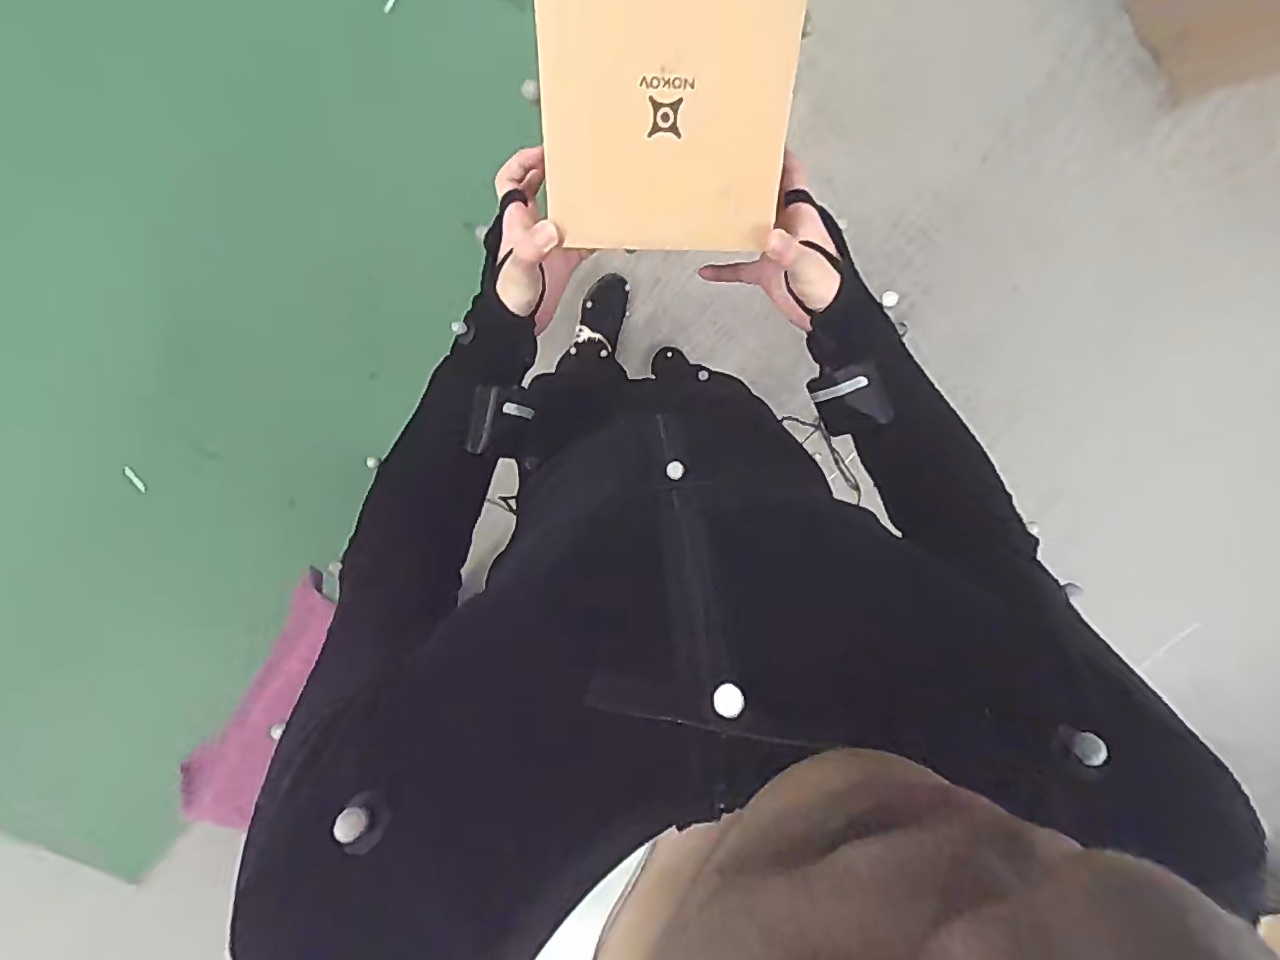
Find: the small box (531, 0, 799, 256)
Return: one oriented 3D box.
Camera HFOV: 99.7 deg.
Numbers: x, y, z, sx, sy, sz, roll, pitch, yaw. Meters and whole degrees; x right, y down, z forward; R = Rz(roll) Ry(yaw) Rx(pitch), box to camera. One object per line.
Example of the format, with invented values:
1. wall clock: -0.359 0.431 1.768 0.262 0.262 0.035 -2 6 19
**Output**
1. small box: 0.013 -0.288 0.425 0.168 0.176 0.179 2 122 -1
